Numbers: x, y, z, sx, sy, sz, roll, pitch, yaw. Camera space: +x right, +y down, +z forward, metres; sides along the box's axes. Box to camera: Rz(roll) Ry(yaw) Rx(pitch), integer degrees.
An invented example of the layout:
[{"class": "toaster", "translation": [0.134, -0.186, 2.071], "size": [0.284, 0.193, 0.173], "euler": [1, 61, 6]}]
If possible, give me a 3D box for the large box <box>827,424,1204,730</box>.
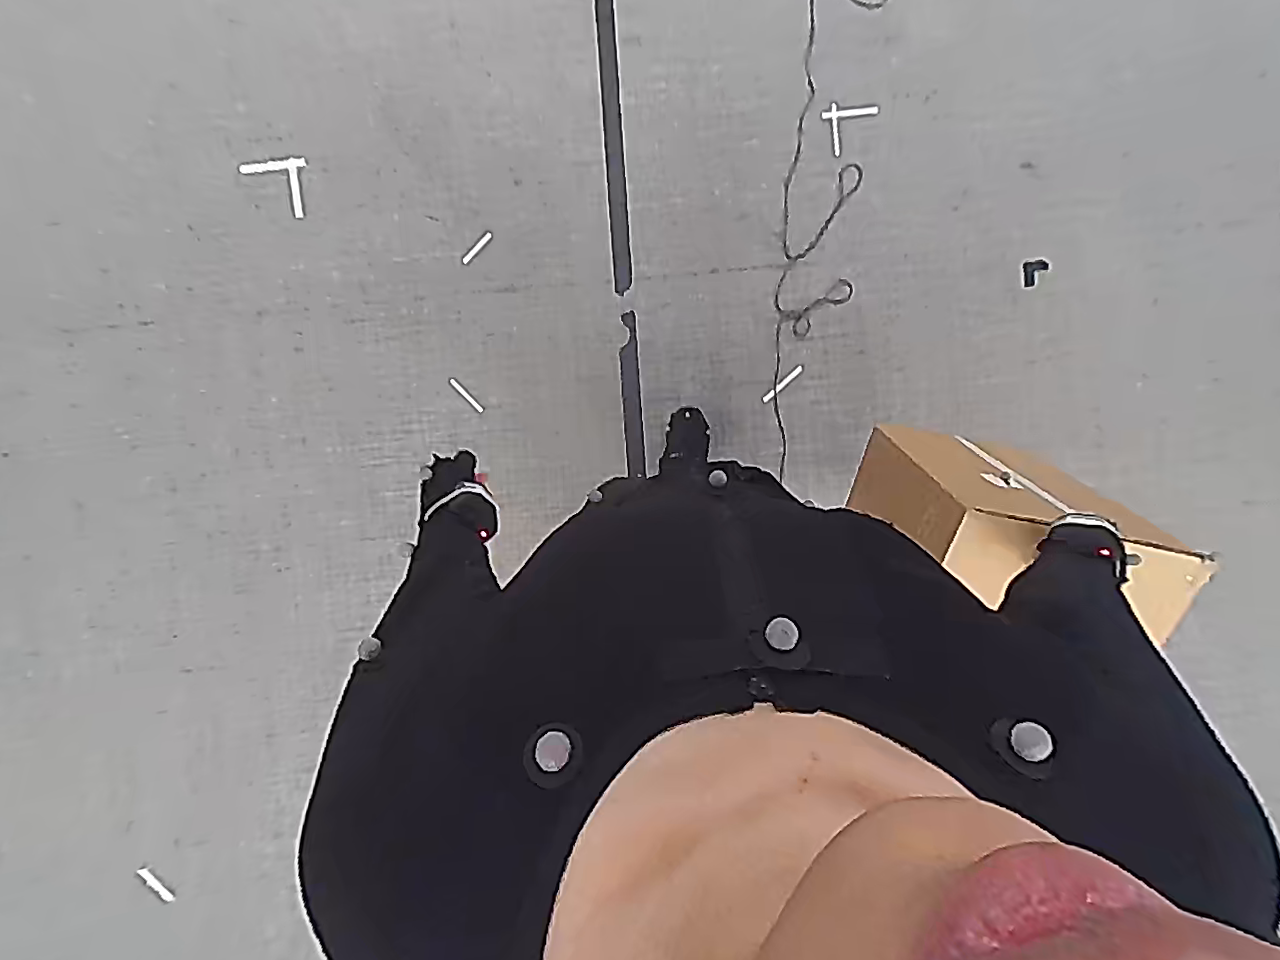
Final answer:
[{"class": "large box", "translation": [0.558, 0.132, 0.926], "size": [0.320, 0.408, 0.320], "euler": [12, 113, 2]}]
